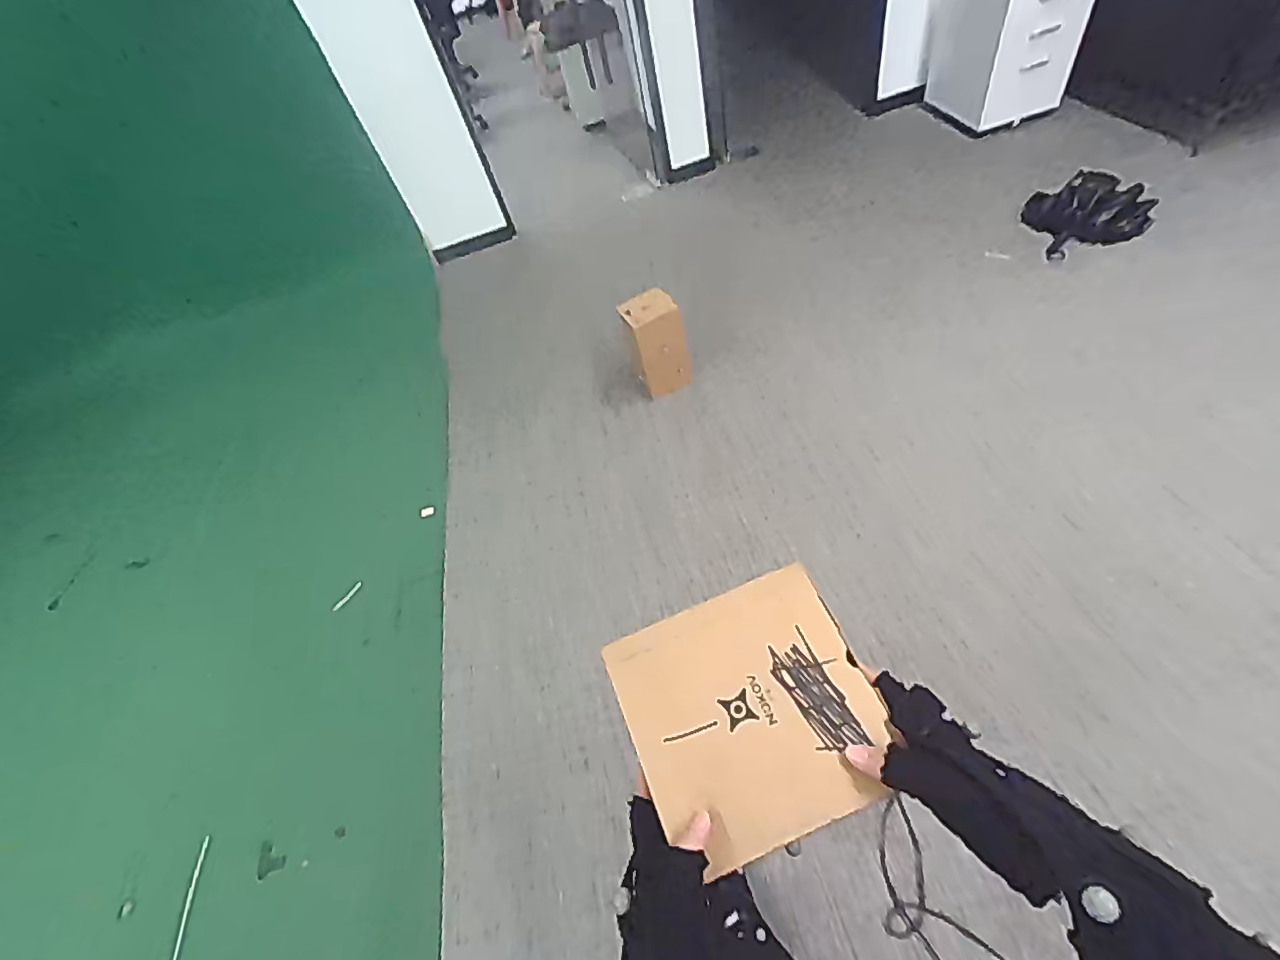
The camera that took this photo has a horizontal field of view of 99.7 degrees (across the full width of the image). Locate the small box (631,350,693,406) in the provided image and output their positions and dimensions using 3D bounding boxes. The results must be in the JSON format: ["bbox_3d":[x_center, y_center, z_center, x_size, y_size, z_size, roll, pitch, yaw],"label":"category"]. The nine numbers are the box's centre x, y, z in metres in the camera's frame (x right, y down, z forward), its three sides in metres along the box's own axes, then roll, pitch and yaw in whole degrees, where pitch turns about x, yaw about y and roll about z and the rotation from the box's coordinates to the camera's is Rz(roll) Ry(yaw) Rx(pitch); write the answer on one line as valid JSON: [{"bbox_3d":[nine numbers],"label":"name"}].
[{"bbox_3d":[0.088,-0.417,2.054,0.179,0.176,0.168,-28,49,-5],"label":"small box"}]

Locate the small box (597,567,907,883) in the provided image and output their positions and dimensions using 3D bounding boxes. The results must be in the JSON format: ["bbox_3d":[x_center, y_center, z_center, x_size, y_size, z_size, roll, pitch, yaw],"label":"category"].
[{"bbox_3d":[0.082,0.202,0.461,0.179,0.176,0.168,-22,60,-4],"label":"small box"}]

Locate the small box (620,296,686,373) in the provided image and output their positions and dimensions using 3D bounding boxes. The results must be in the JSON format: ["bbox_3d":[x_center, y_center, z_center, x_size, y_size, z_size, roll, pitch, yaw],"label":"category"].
[{"bbox_3d":[0.053,-0.517,1.933,0.179,0.176,0.168,-30,51,-7],"label":"small box"}]
